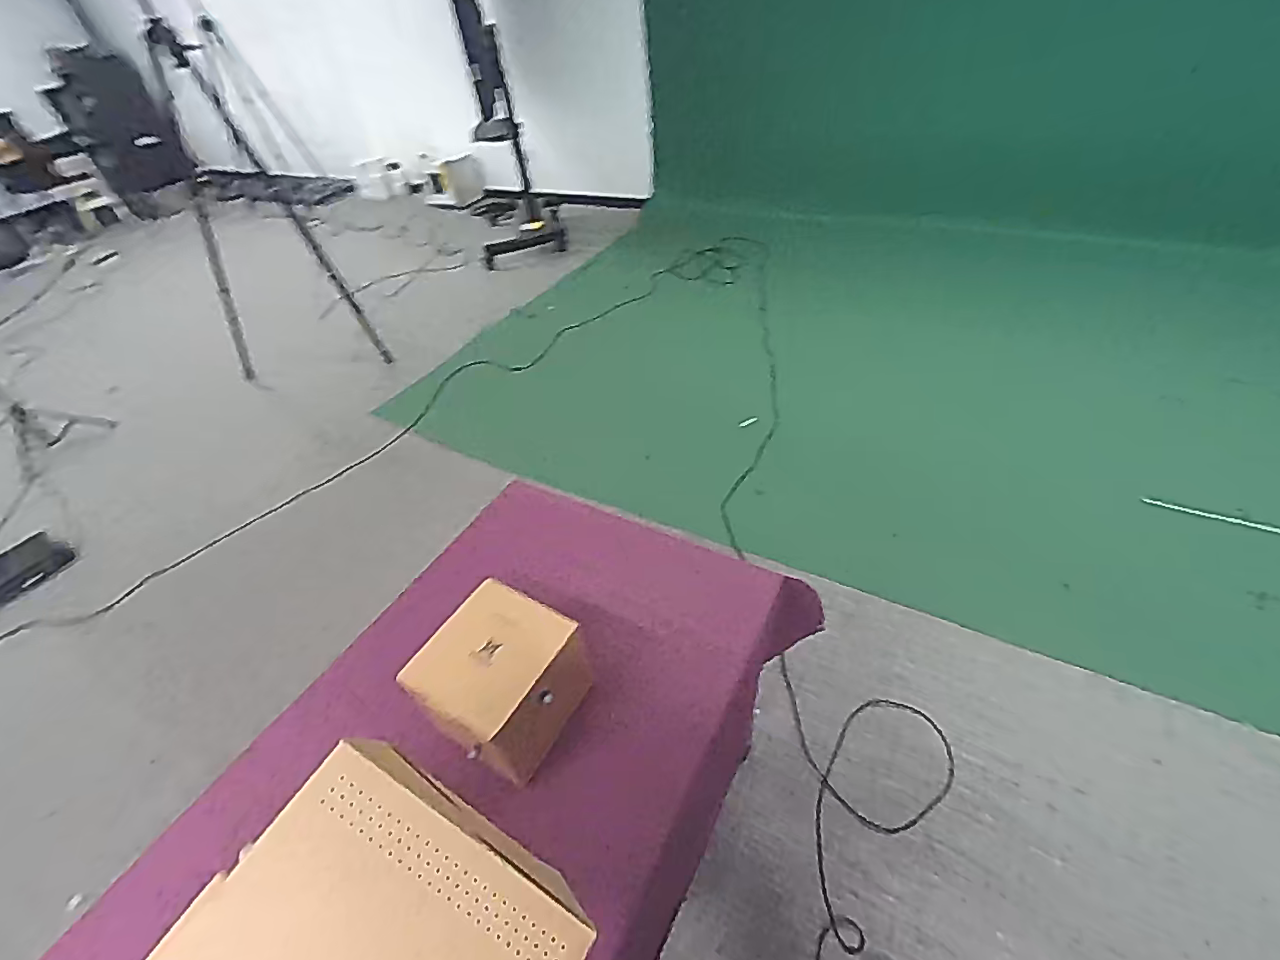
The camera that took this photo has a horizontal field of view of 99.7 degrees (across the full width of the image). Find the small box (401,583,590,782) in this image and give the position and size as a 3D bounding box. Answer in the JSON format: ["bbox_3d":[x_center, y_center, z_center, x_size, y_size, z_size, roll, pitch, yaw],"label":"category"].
[{"bbox_3d":[-0.187,0.285,0.761,0.168,0.176,0.179,20,50,25],"label":"small box"}]
